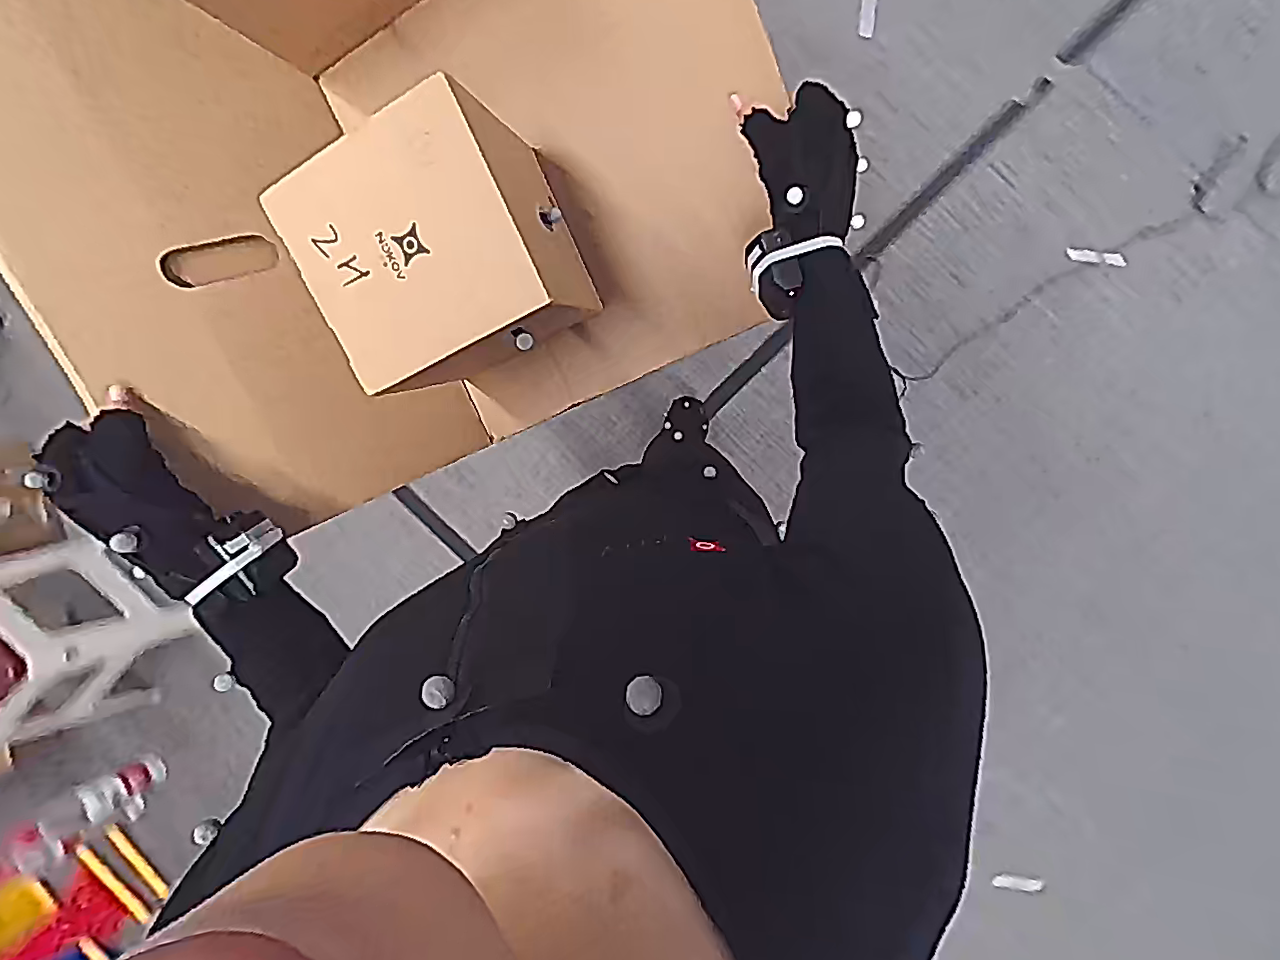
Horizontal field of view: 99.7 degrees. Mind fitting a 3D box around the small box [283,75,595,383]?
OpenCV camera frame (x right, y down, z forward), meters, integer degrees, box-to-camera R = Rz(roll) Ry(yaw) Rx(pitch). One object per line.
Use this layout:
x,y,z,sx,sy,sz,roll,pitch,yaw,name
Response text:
-0.153,-0.201,0.483,0.179,0.176,0.168,-20,101,15,small box
